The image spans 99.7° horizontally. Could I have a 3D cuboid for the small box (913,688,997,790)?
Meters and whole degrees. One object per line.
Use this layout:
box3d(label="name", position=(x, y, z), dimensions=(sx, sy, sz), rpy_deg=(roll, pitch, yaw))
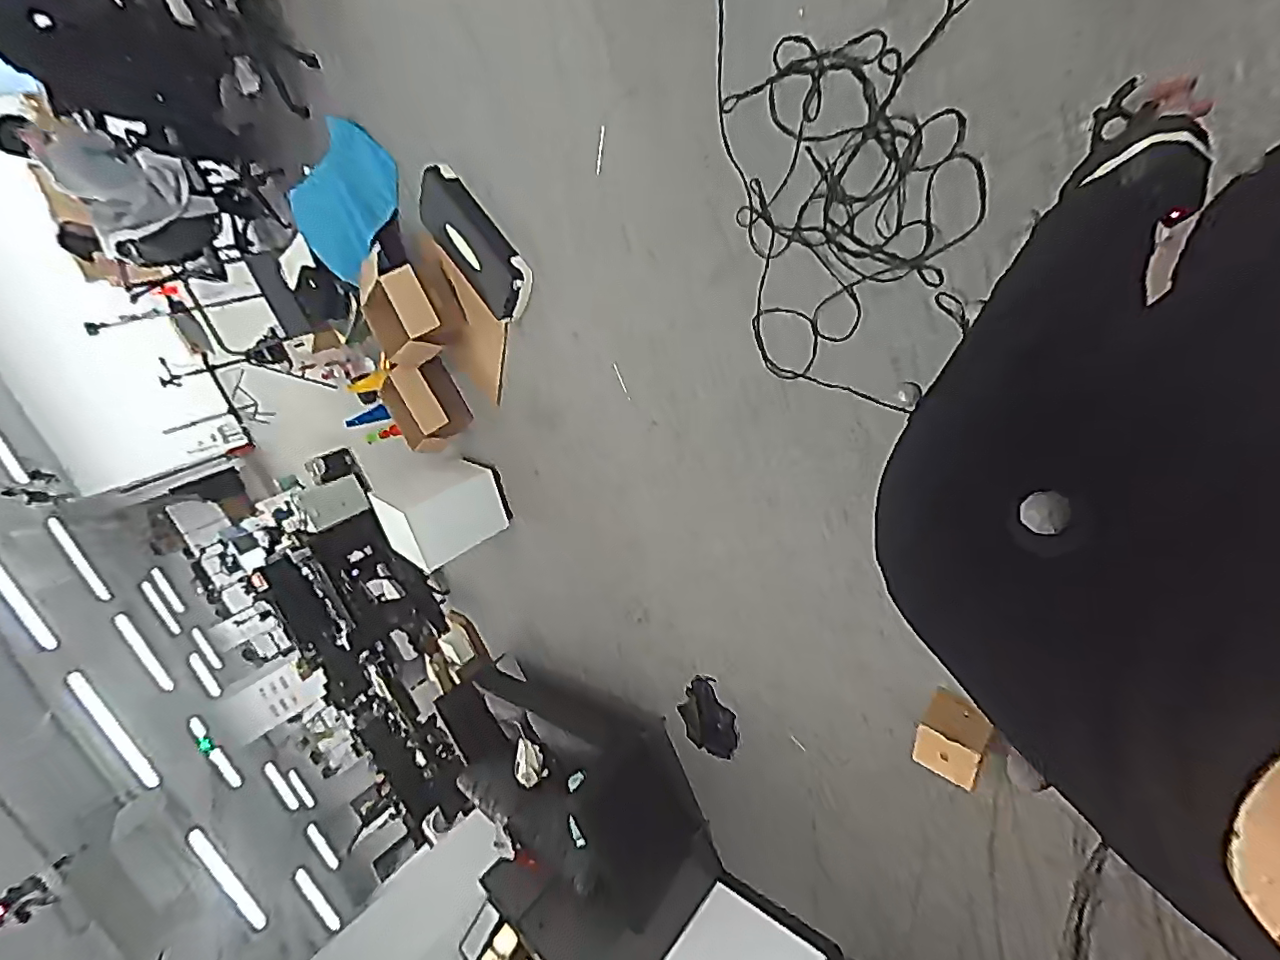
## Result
box3d(label="small box", position=(0.951, 0.775, 1.632), dimensions=(0.168, 0.176, 0.179), rpy_deg=(20, 129, 41))
